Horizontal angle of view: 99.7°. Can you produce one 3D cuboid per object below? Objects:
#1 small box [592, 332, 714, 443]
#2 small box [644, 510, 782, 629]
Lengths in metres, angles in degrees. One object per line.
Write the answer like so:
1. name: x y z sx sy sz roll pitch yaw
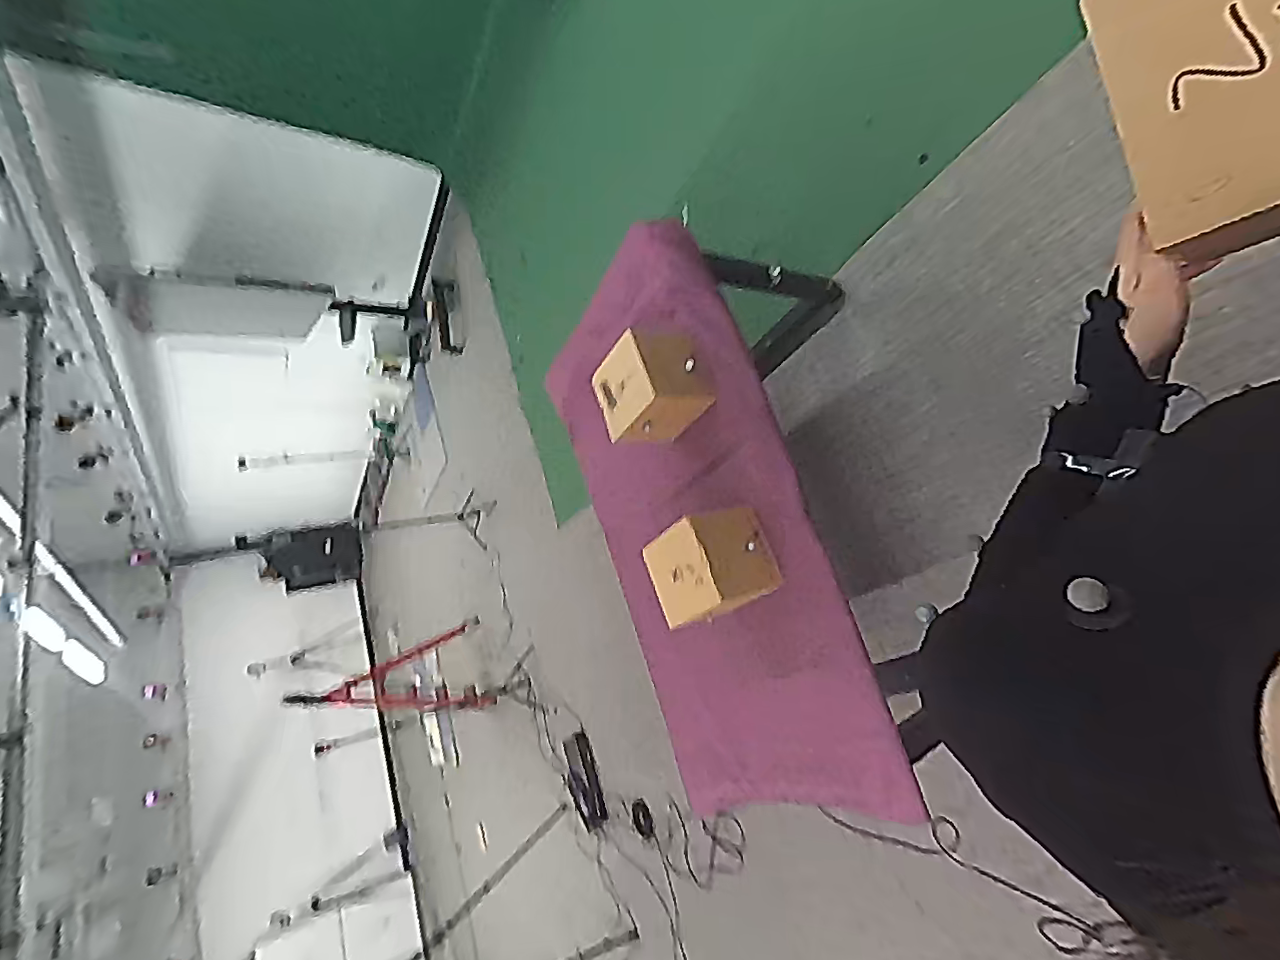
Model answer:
1. small box: 0.027 -0.191 1.158 0.179 0.176 0.168 -42 62 47
2. small box: 0.140 0.172 1.049 0.179 0.176 0.168 -45 60 48
